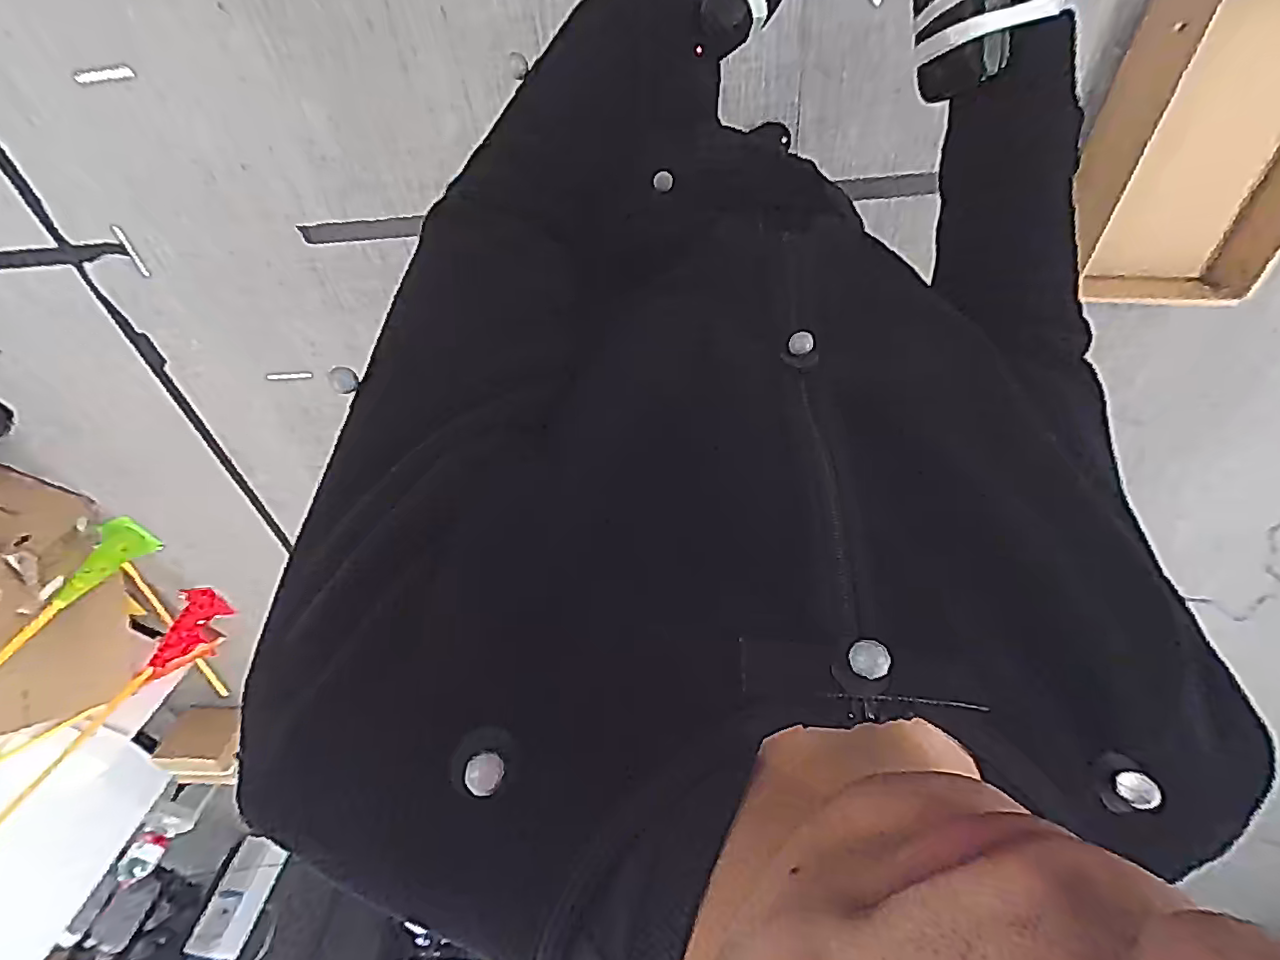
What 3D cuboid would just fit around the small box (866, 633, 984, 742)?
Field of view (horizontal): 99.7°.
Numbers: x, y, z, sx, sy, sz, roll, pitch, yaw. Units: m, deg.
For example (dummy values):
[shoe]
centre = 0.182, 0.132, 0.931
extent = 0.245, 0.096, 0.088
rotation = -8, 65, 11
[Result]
[small box]
centre = 0.627, 0.463, 1.216
extent = 0.168, 0.176, 0.179
rotation = 2, 129, 4
